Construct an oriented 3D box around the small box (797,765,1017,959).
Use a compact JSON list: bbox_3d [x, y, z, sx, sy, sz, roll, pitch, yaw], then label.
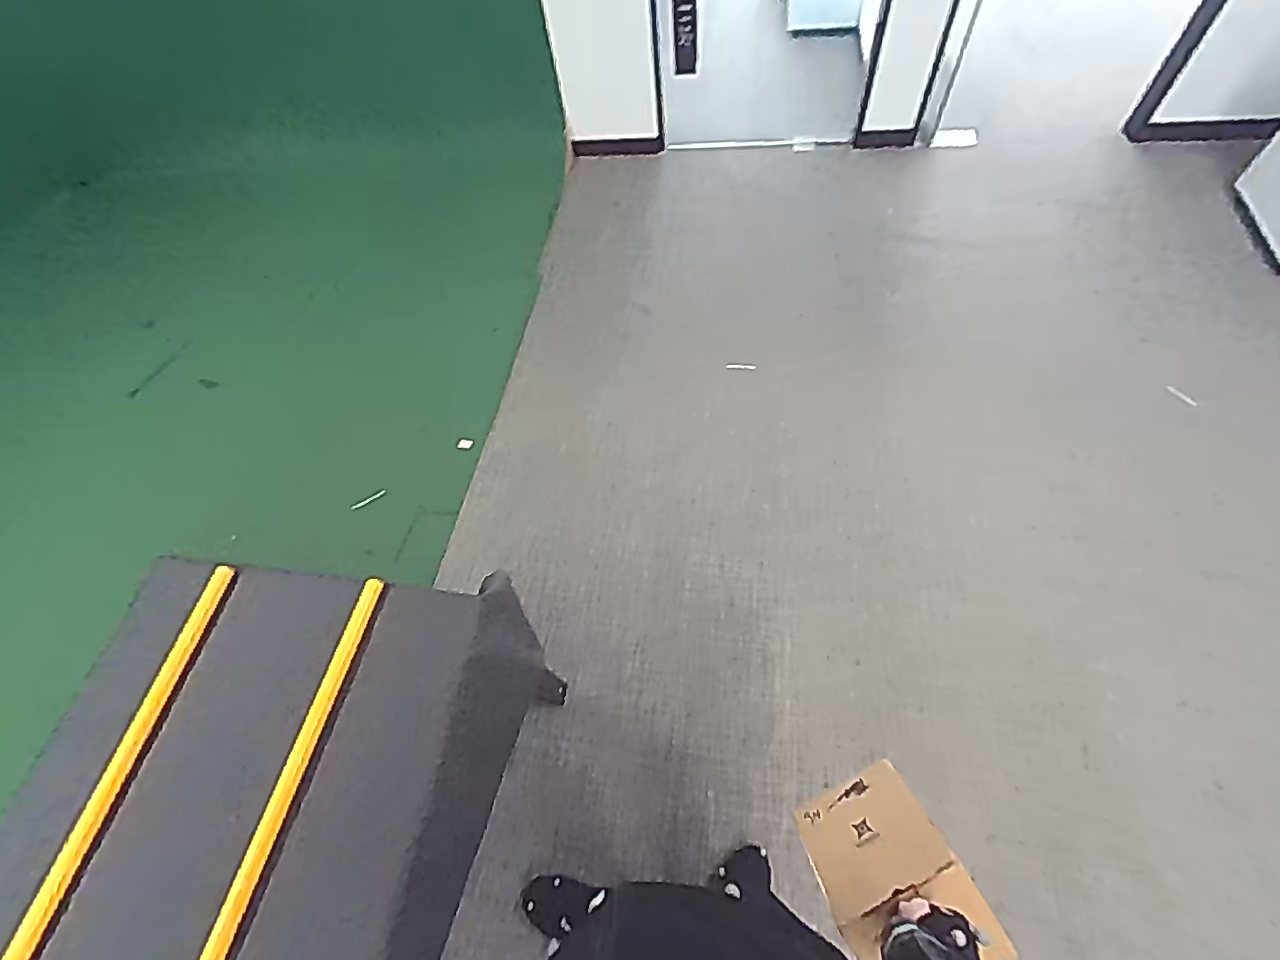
[{"bbox_3d":[0.348,0.539,0.722,0.168,0.179,0.176,-34,101,1],"label":"small box"}]
